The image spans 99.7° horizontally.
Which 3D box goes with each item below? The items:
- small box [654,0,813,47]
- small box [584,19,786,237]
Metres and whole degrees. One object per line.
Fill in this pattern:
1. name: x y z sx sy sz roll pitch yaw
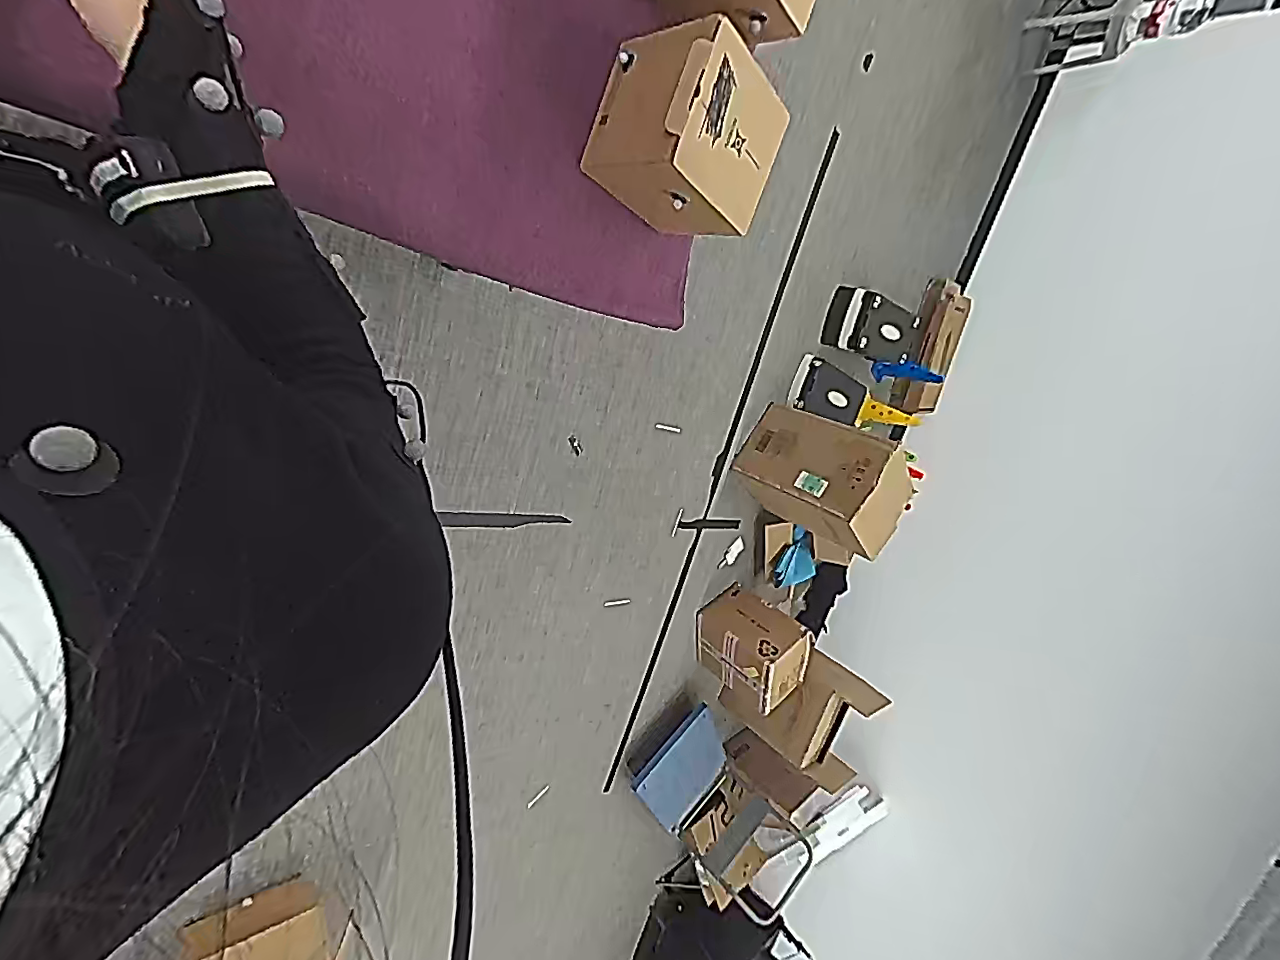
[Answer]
1. small box: 0.114 -0.662 0.651 0.179 0.176 0.168 5 109 -48
2. small box: 0.056 -0.442 0.714 0.179 0.176 0.168 13 100 -49
